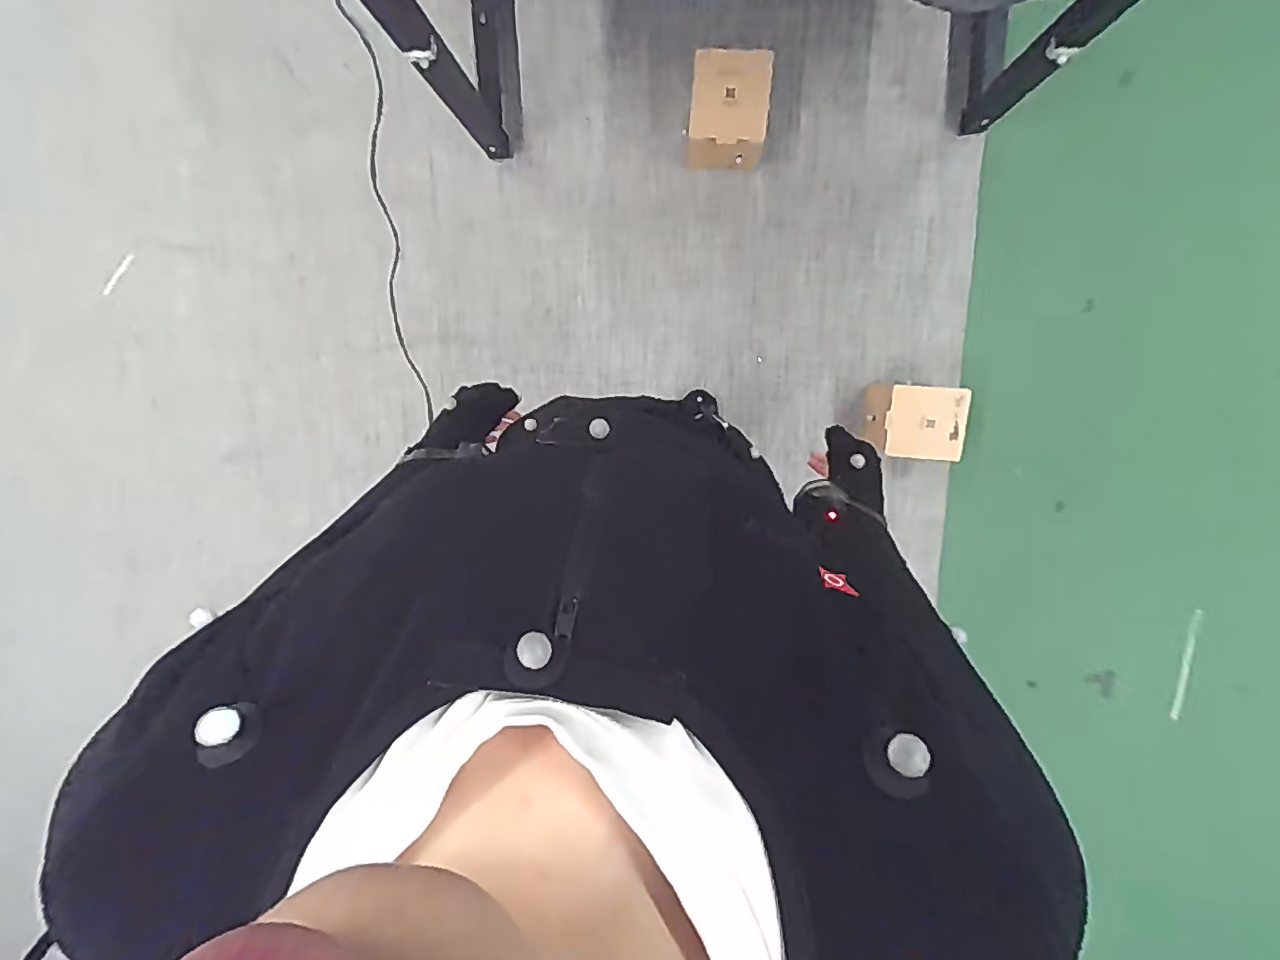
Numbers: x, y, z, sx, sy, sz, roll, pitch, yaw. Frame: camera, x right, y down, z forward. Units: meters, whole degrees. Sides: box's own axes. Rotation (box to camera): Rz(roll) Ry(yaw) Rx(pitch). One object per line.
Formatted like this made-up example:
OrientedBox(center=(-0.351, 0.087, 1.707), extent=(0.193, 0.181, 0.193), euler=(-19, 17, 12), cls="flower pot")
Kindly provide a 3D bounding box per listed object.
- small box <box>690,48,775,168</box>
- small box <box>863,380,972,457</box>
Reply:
OrientedBox(center=(0.202, -0.830, 1.223), extent=(0.168, 0.176, 0.179), euler=(4, 99, 3), cls="small box")
OrientedBox(center=(0.660, -0.152, 1.309), extent=(0.179, 0.176, 0.168), euler=(5, 100, 4), cls="small box")
